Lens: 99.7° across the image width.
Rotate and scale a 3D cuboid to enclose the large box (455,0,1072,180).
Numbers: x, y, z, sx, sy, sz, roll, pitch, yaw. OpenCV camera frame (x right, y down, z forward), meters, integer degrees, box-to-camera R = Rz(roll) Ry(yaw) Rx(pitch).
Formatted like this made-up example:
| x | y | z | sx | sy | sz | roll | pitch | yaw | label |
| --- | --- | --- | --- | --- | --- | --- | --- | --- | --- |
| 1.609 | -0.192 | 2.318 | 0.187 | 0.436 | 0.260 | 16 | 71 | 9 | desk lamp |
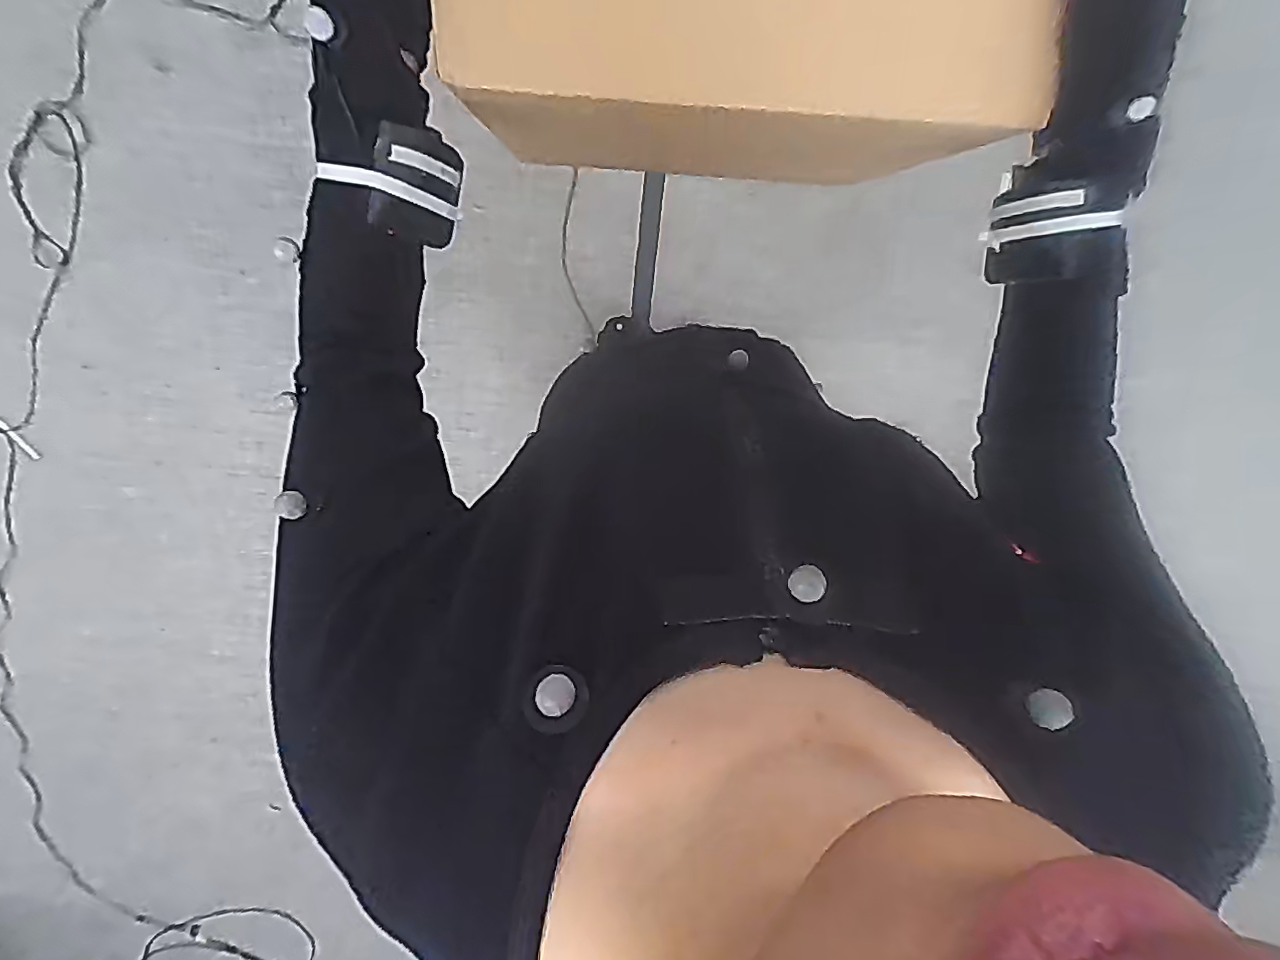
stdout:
| x | y | z | sx | sy | sz | roll | pitch | yaw | label |
| --- | --- | --- | --- | --- | --- | --- | --- | --- | --- |
| 0.075 | -0.448 | 0.443 | 0.408 | 0.320 | 0.320 | 1 | 113 | -5 | large box |
